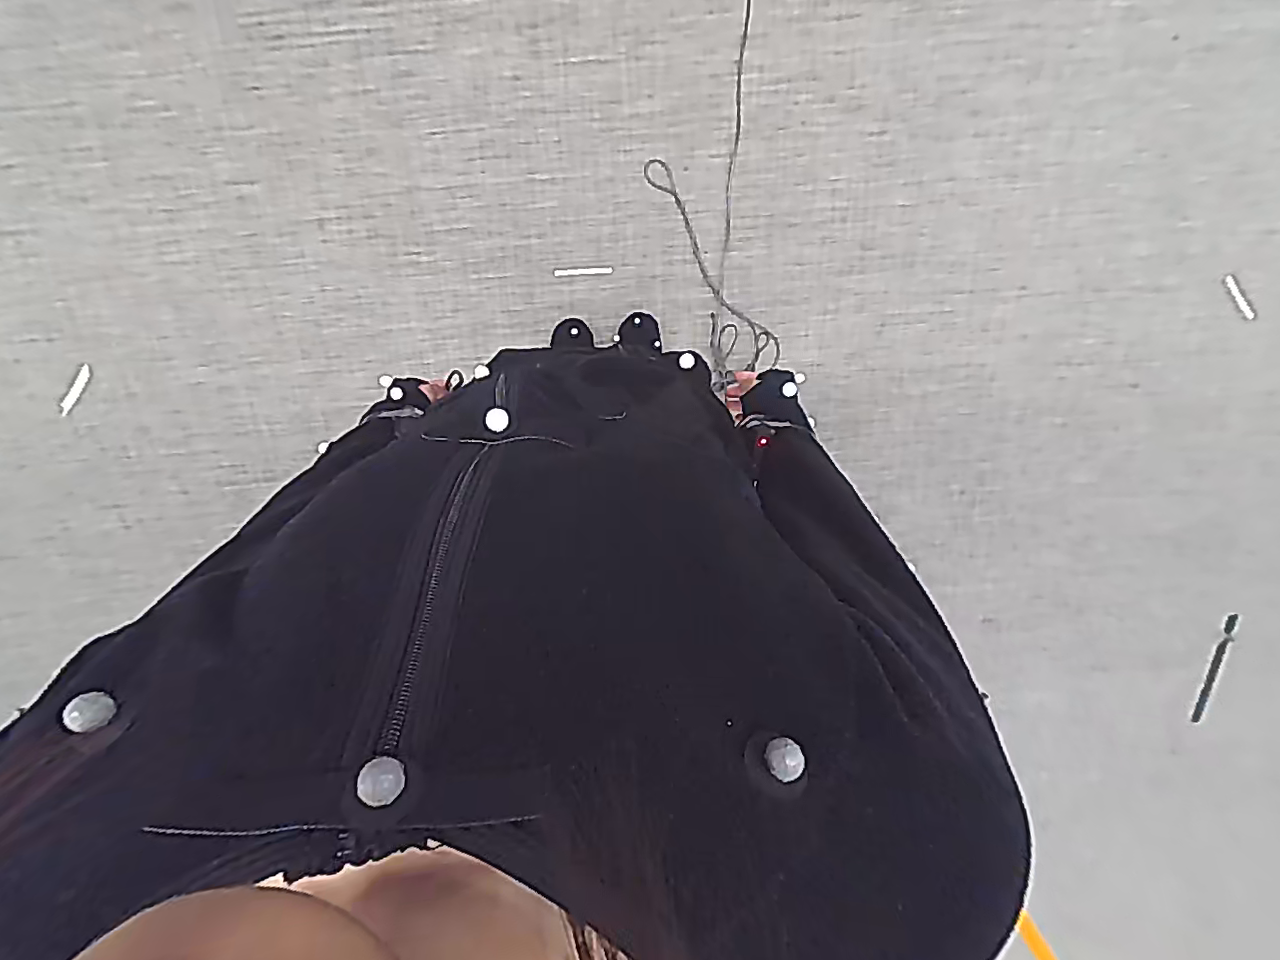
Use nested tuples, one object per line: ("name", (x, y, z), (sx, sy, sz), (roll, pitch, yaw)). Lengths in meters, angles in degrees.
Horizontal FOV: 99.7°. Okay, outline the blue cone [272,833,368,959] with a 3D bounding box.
("blue cone", (-1.041, 1.347, 1.714), (0.193, 0.380, 0.192), (0, 108, -1))
